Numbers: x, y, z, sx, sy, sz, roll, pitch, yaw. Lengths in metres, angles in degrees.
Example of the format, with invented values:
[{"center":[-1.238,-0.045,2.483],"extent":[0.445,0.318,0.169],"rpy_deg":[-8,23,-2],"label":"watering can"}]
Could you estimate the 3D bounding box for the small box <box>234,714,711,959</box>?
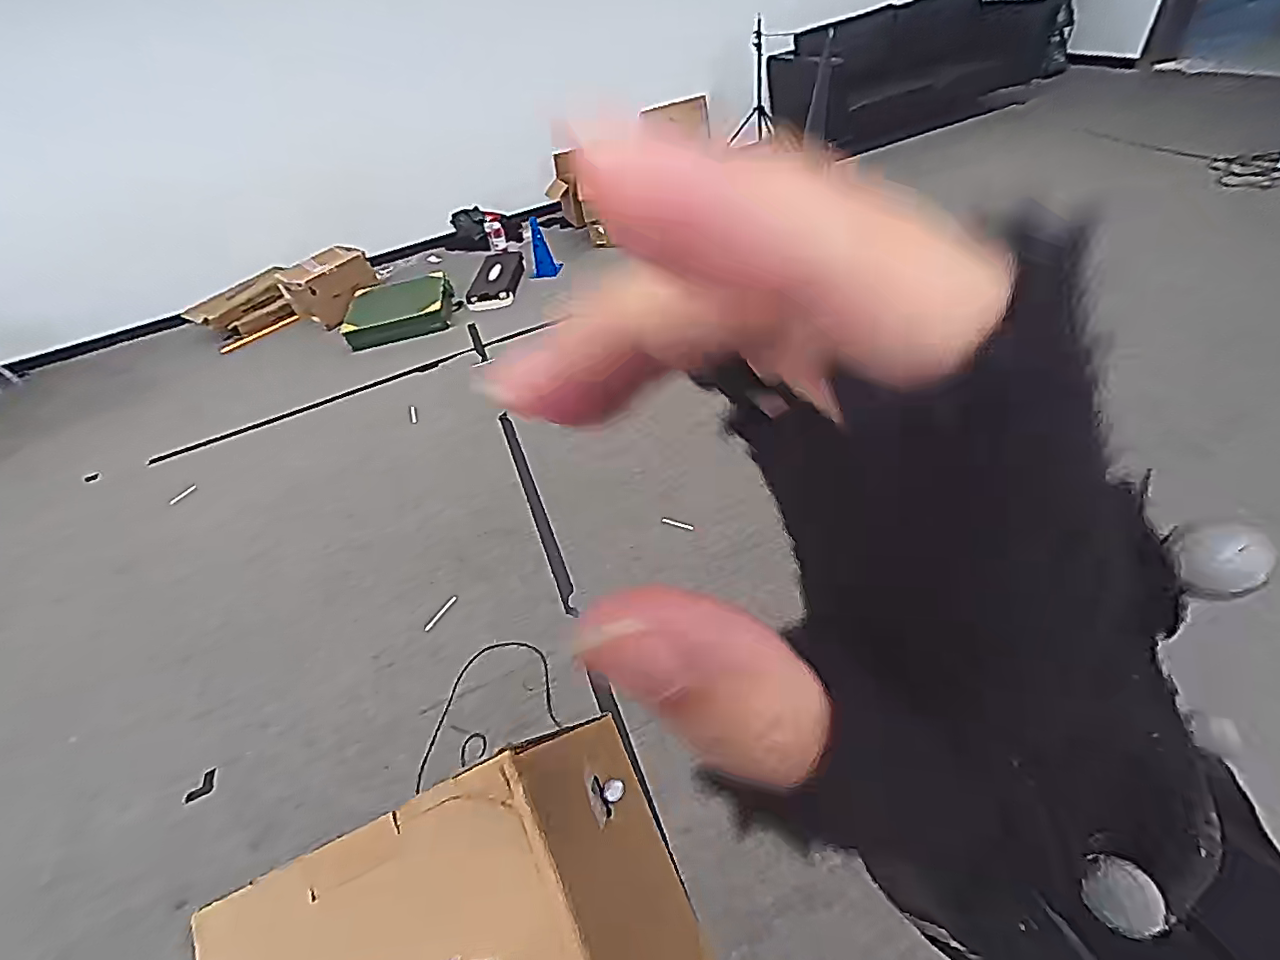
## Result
[{"center":[-0.070,0.257,0.301],"extent":[0.168,0.179,0.176],"rpy_deg":[-28,68,2],"label":"small box"}]
